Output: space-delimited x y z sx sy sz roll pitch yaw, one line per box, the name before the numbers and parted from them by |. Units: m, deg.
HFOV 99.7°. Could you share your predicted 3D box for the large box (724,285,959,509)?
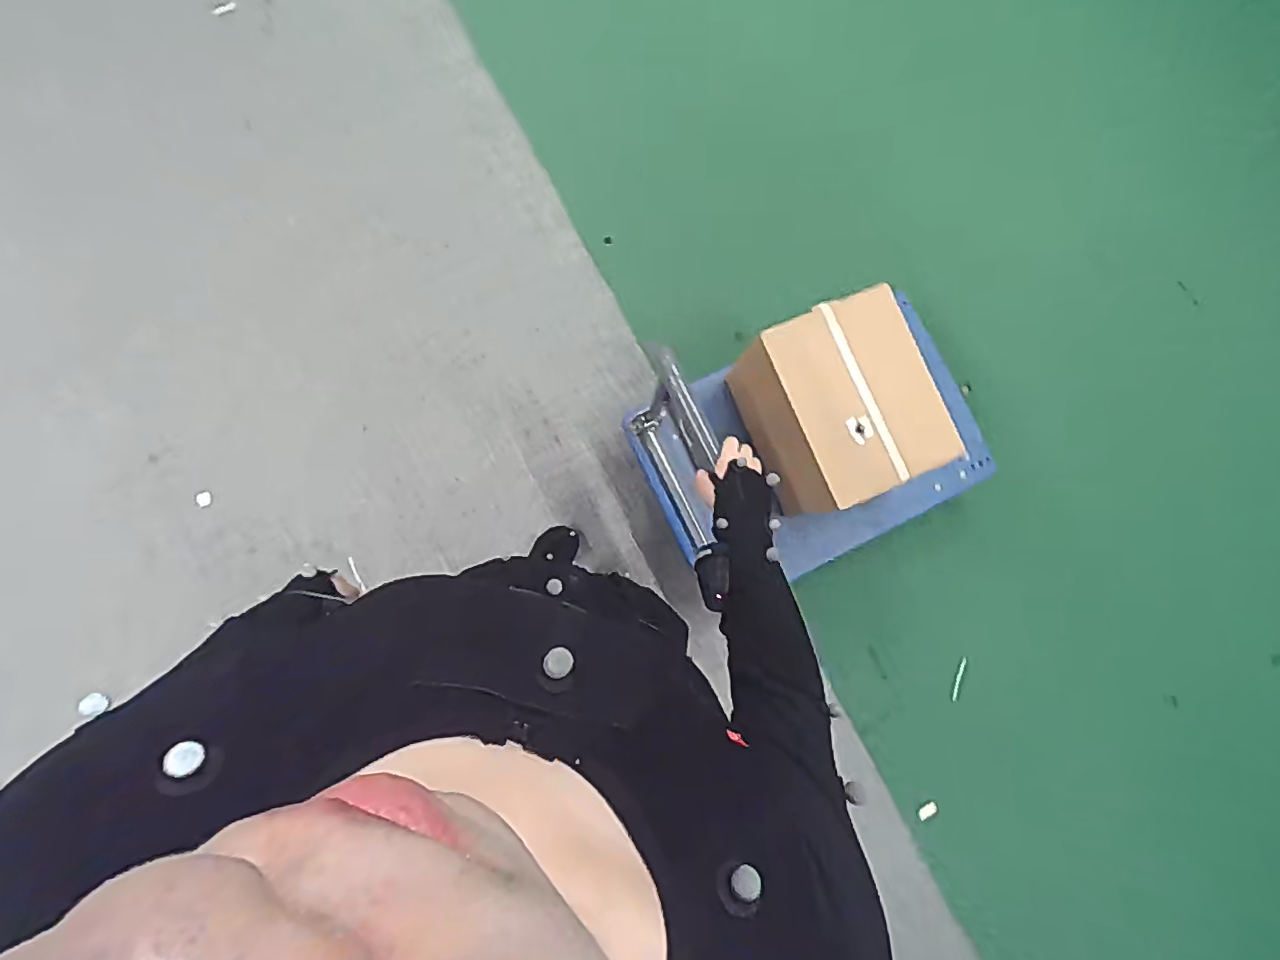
large box | 0.449 -0.176 1.291 0.320 0.320 0.408 -23 87 -7
